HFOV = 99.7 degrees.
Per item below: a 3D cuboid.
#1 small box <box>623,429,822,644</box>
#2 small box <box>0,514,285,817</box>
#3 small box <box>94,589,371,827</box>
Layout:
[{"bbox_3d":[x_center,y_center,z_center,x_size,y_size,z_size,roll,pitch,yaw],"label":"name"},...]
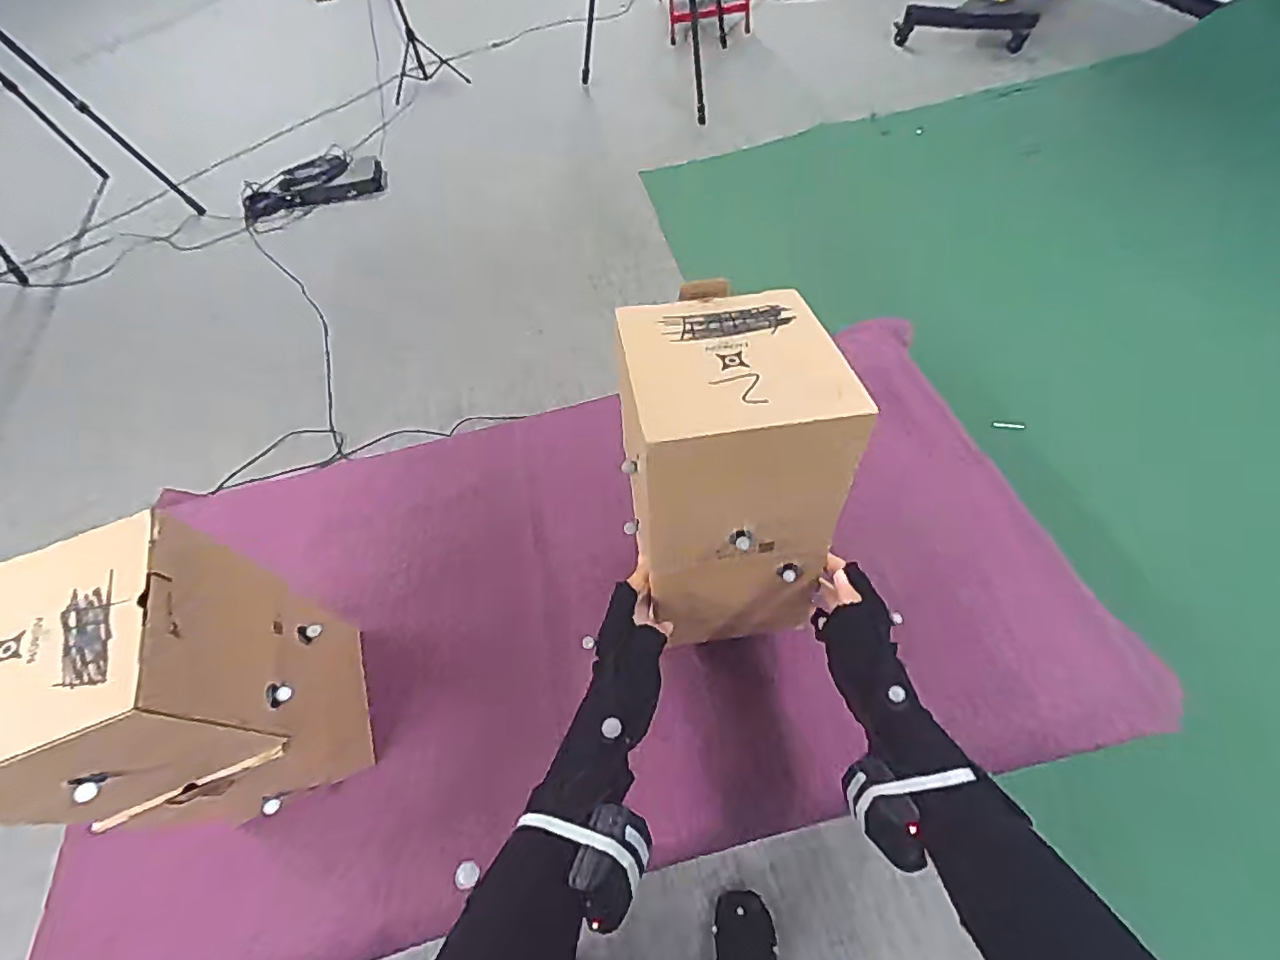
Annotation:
[{"bbox_3d":[0.081,0.067,0.608,0.179,0.176,0.168,-7,47,-3],"label":"small box"},{"bbox_3d":[-0.431,0.159,0.450,0.179,0.176,0.168,-19,57,-6],"label":"small box"},{"bbox_3d":[-0.420,0.252,0.590,0.168,0.176,0.179,-21,59,-7],"label":"small box"}]
